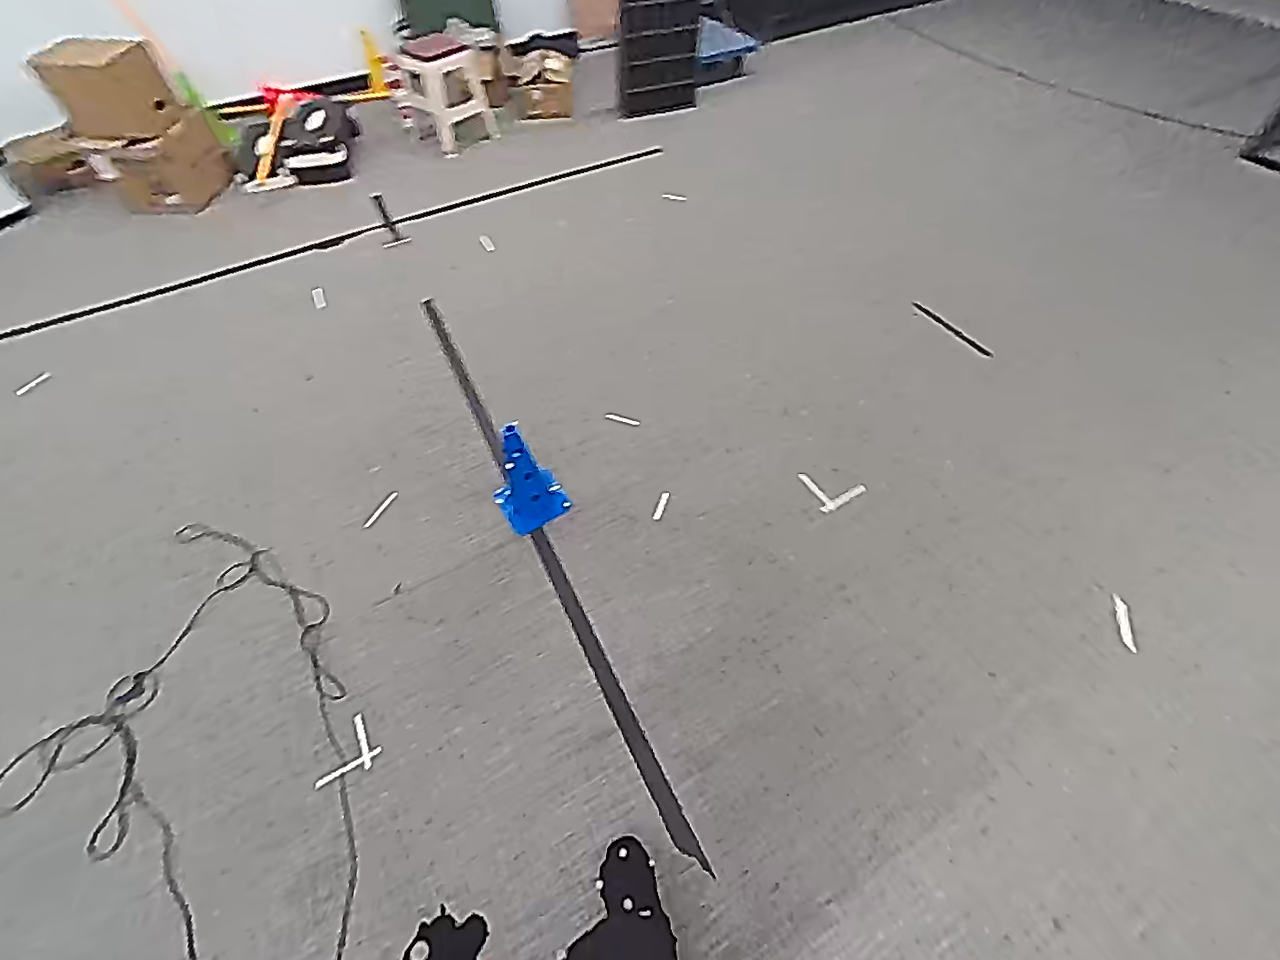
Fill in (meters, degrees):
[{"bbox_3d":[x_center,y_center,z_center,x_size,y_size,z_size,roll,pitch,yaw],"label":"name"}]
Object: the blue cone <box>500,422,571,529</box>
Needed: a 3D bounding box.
[{"bbox_3d":[-0.345,-0.035,1.624,0.192,0.380,0.193,-27,58,-18],"label":"blue cone"}]
